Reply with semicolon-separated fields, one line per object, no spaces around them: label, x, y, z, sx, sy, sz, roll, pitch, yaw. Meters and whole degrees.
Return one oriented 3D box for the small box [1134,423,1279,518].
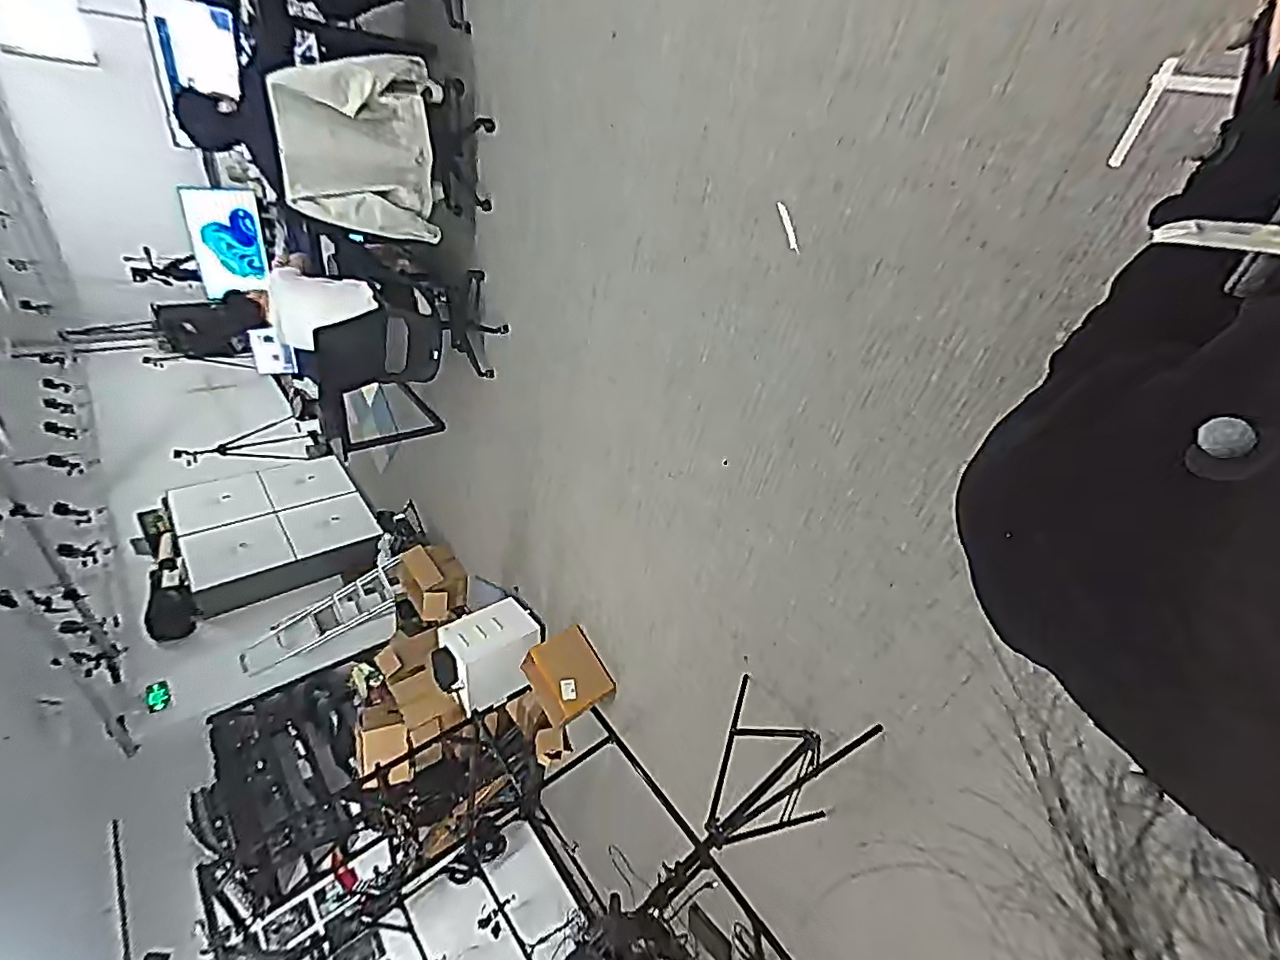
small box;0.888;0.037;0.807;0.168;0.176;0.179;38;131;35

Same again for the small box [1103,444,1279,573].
small box;0.765;0.072;0.707;0.168;0.176;0.179;37;132;37
